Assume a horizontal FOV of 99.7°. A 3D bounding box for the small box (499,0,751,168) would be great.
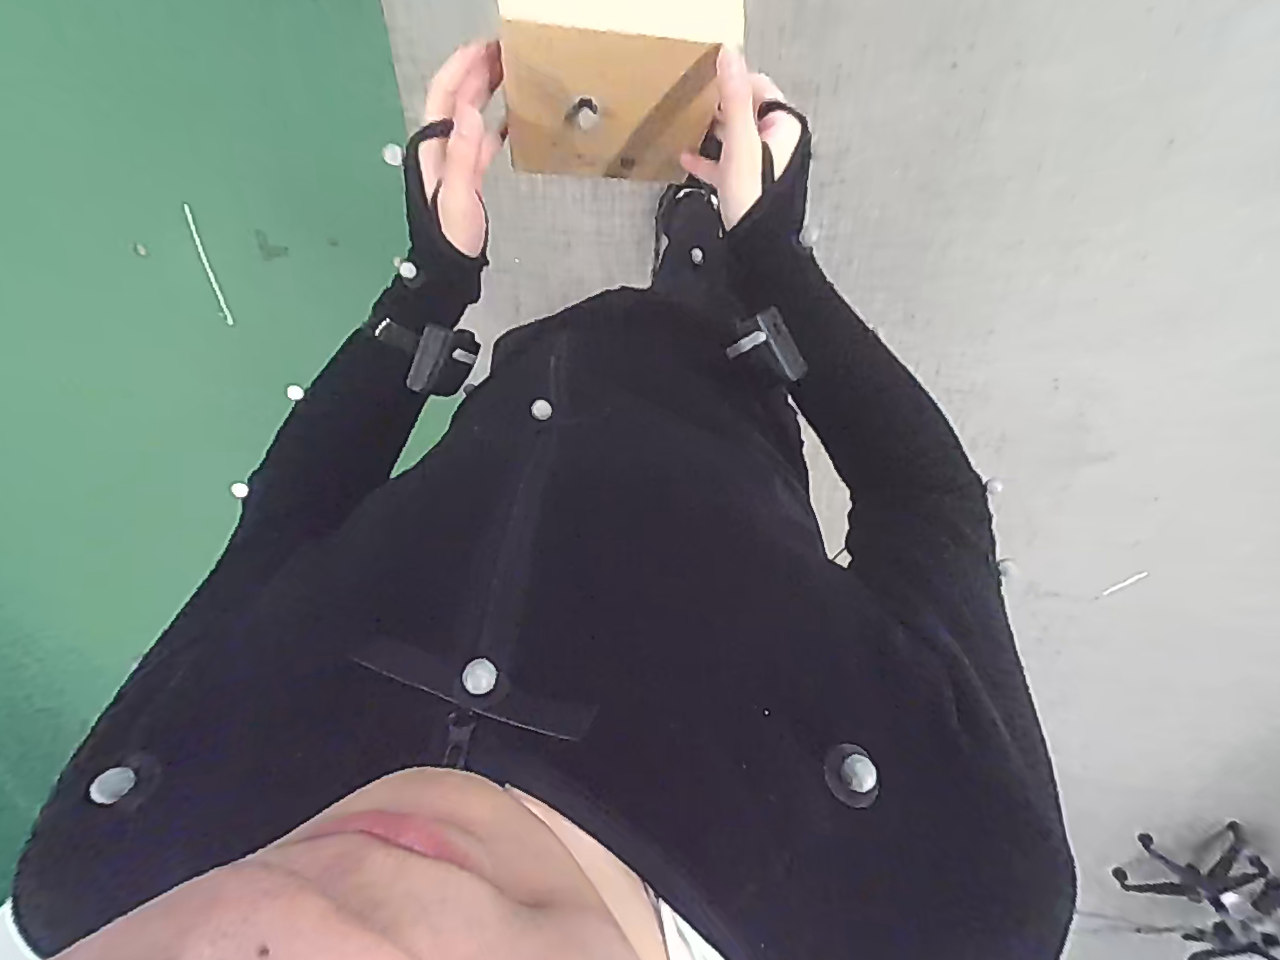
[{"bbox_3d":[-0.021,-0.378,0.426,0.168,0.176,0.179,-2,87,-9],"label":"small box"}]
